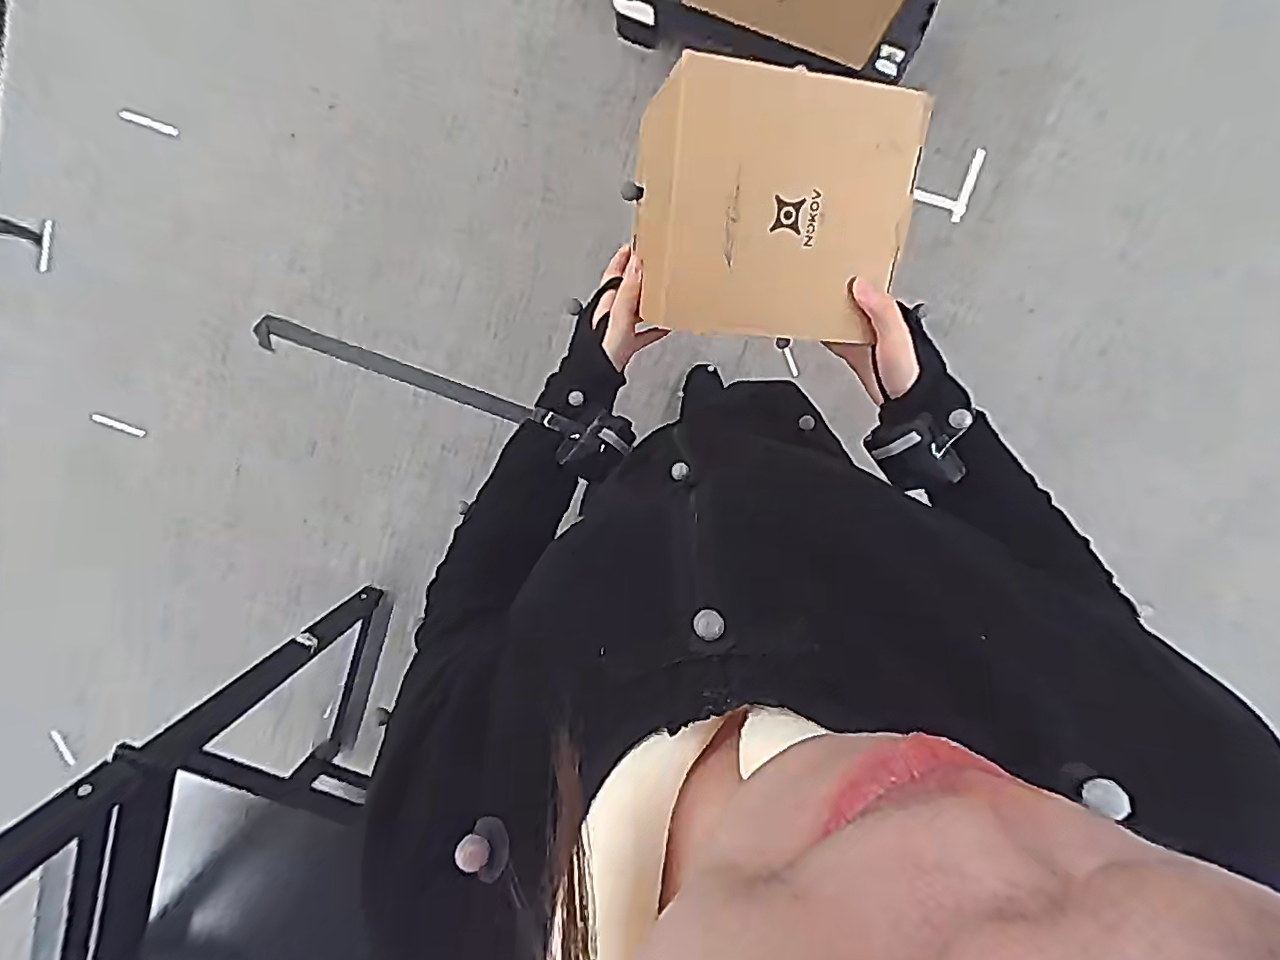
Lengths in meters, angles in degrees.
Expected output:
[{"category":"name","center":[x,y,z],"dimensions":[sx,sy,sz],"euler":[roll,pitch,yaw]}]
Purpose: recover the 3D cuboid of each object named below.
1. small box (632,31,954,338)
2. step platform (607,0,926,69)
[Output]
[{"category":"small box","center":[0.098,-0.214,0.434],"dimensions":[0.179,0.176,0.168],"euler":[2,110,-11]},{"category":"step platform","center":[0.265,-1.070,1.188],"dimensions":[0.684,0.204,0.286],"euler":[25,100,-1]}]
